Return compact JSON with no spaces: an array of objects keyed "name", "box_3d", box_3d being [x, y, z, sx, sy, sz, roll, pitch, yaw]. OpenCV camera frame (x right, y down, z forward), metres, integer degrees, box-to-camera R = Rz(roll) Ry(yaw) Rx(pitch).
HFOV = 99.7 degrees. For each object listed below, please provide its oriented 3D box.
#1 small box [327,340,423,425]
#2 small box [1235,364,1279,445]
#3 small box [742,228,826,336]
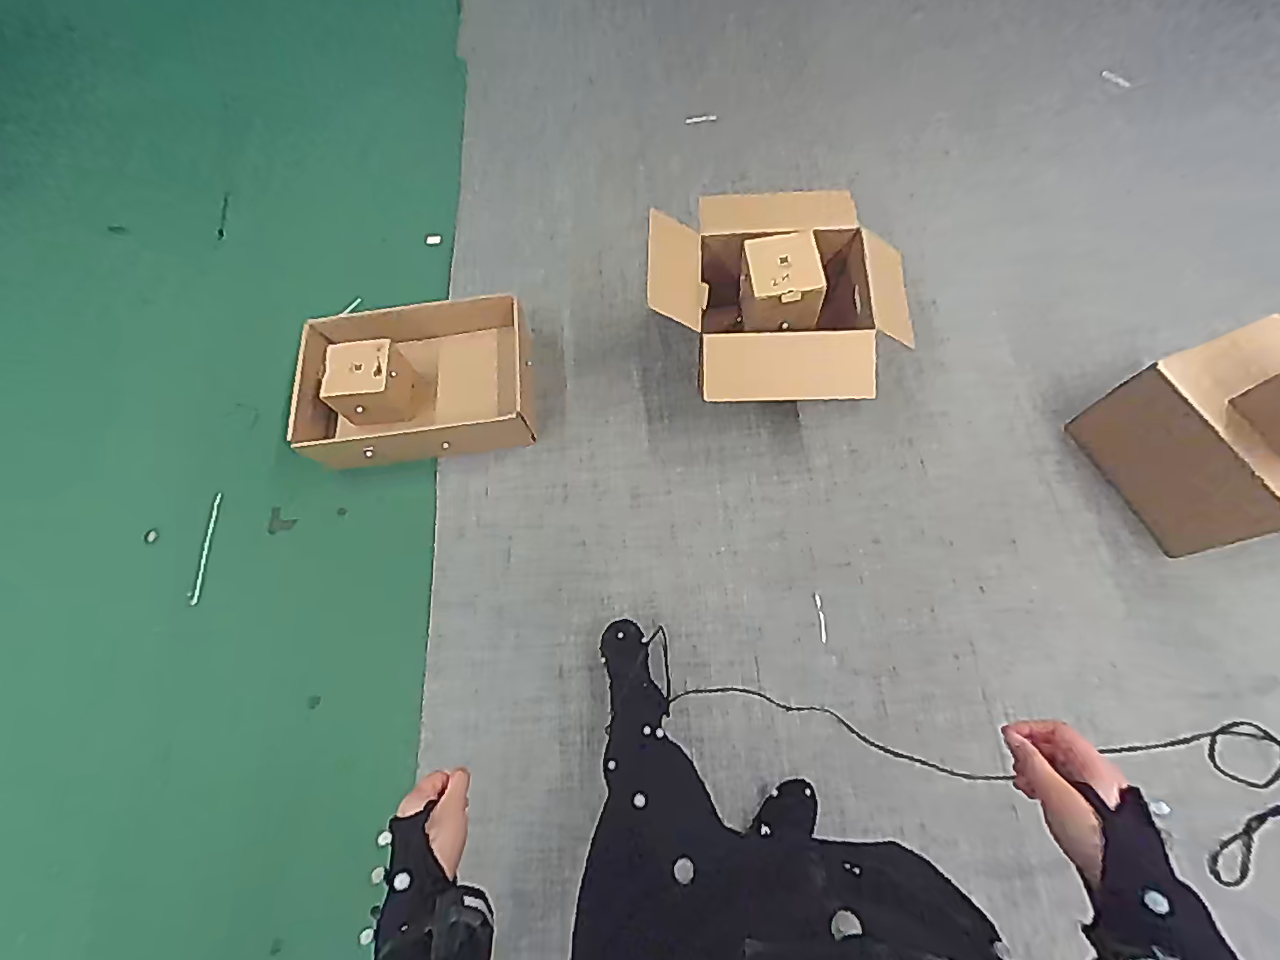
[{"name":"small box","box_3d":[-0.736,-0.268,1.516,0.179,0.176,0.168,-6,68,3]},{"name":"small box","box_3d":[1.316,-0.169,1.018,0.168,0.176,0.179,-23,70,-2]},{"name":"small box","box_3d":[0.352,-0.490,1.353,0.168,0.176,0.179,-8,69,5]}]
